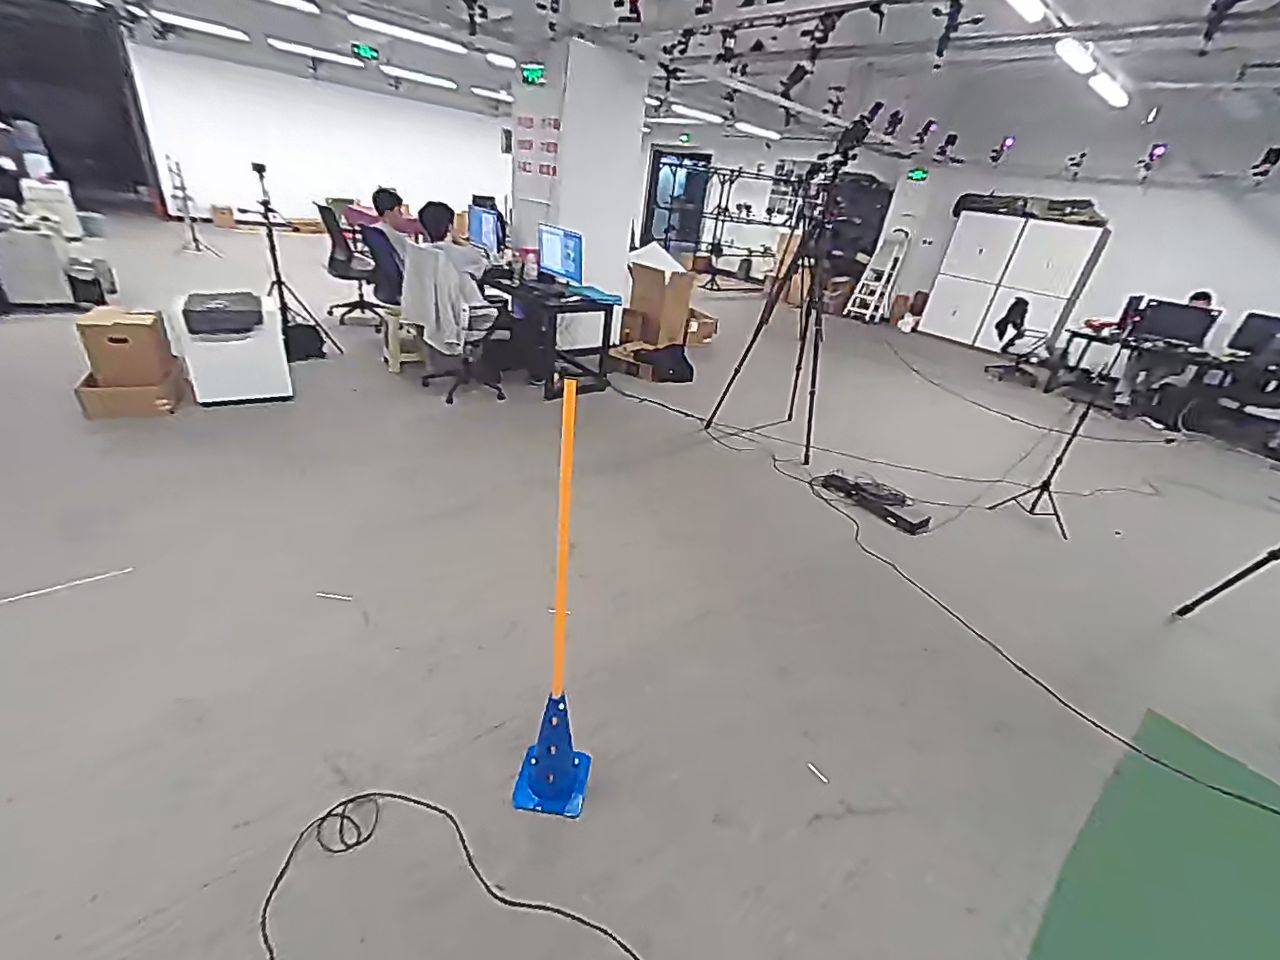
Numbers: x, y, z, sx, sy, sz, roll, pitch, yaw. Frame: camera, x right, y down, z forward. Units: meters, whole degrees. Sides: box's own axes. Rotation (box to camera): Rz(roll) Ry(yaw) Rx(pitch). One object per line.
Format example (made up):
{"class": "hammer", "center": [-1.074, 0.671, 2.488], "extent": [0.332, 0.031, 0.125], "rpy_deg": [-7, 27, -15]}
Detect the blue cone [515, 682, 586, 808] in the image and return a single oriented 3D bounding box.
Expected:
{"class": "blue cone", "center": [-0.239, 0.713, 1.508], "extent": [0.192, 0.380, 0.193], "rpy_deg": [8, 26, 1]}
